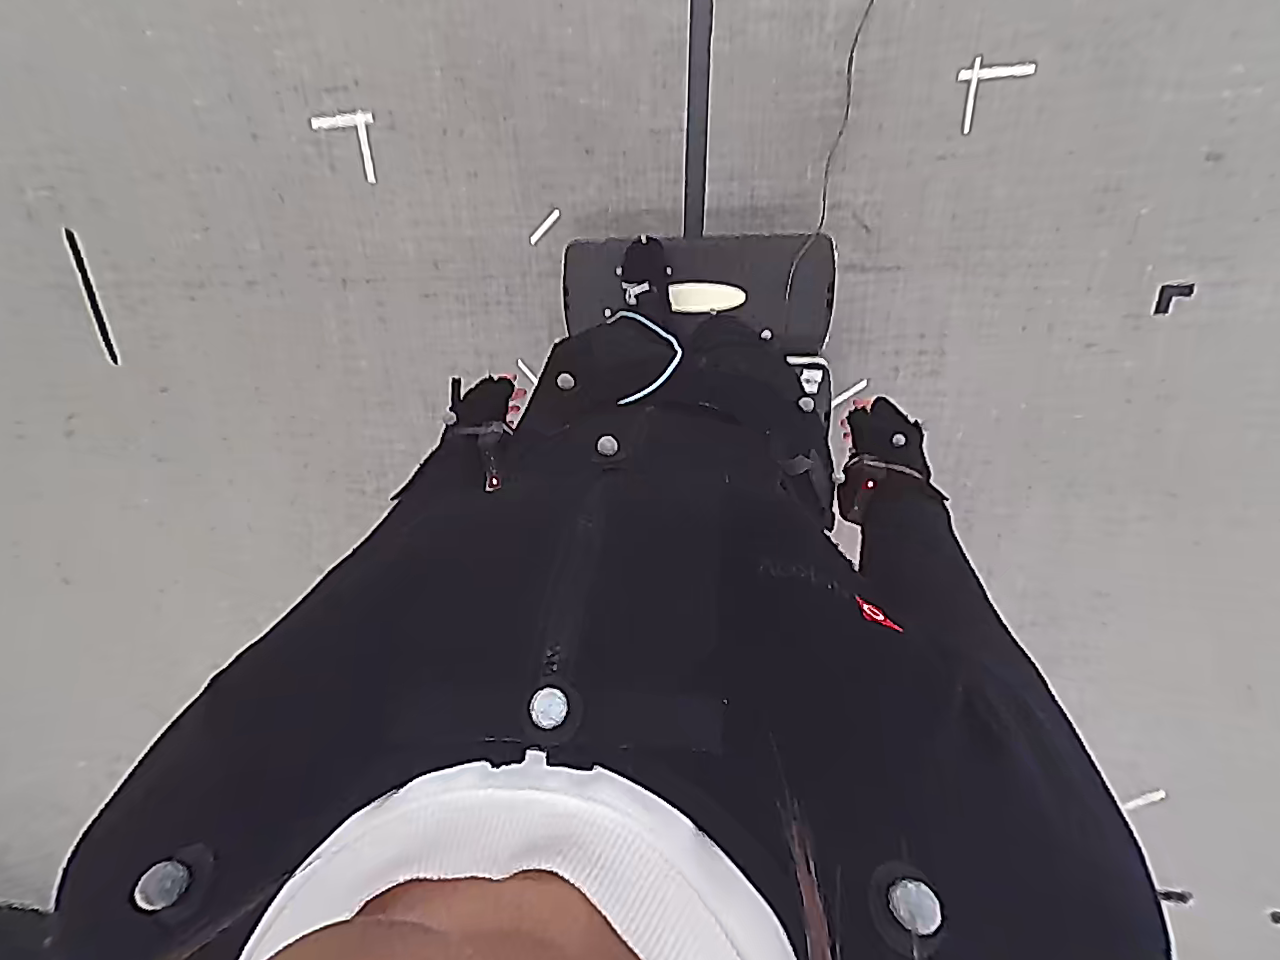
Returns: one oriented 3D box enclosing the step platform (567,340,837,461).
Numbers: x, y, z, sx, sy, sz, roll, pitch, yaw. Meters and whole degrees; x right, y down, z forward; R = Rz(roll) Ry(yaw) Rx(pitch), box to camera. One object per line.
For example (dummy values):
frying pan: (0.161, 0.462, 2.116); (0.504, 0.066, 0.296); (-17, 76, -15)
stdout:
step platform: (0.153, -0.208, 1.411); (0.684, 0.204, 0.286); (1, 109, 9)
